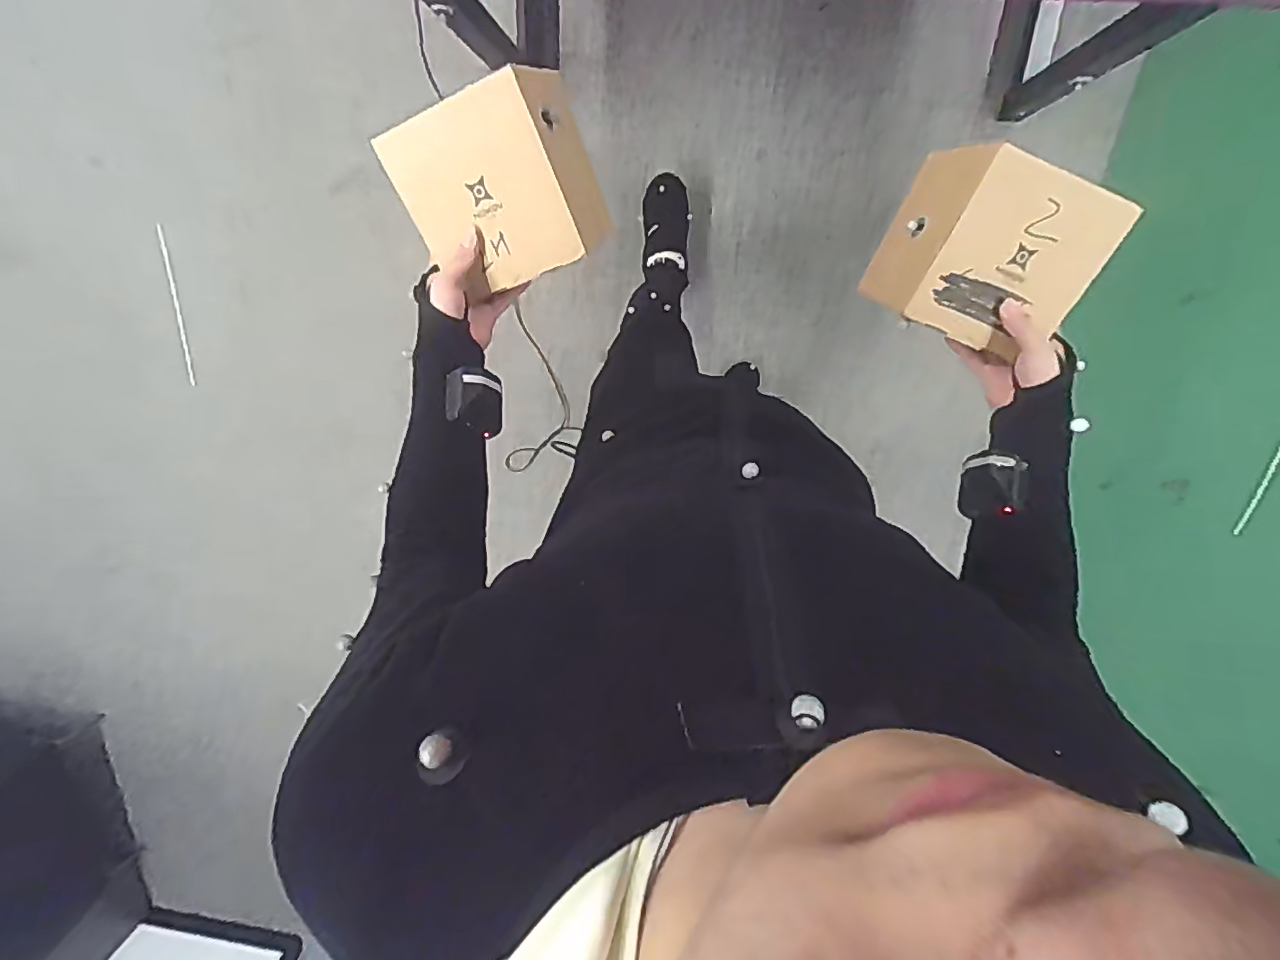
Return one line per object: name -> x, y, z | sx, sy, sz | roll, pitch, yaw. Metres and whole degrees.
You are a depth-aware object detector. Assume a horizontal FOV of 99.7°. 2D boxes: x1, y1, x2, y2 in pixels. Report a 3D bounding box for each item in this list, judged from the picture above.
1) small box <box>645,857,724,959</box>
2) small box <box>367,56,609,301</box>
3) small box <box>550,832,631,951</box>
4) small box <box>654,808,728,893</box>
small box -> 0.121, 1.149, 1.422 | 0.168, 0.176, 0.179 | 14, 110, 3
small box -> -0.150, -0.329, 0.602 | 0.168, 0.176, 0.179 | -13, 122, 18
small box -> -0.124, 1.076, 1.426 | 0.168, 0.176, 0.179 | 14, 111, 3
small box -> 0.150, 1.100, 1.576 | 0.179, 0.176, 0.168 | 15, 110, 3
